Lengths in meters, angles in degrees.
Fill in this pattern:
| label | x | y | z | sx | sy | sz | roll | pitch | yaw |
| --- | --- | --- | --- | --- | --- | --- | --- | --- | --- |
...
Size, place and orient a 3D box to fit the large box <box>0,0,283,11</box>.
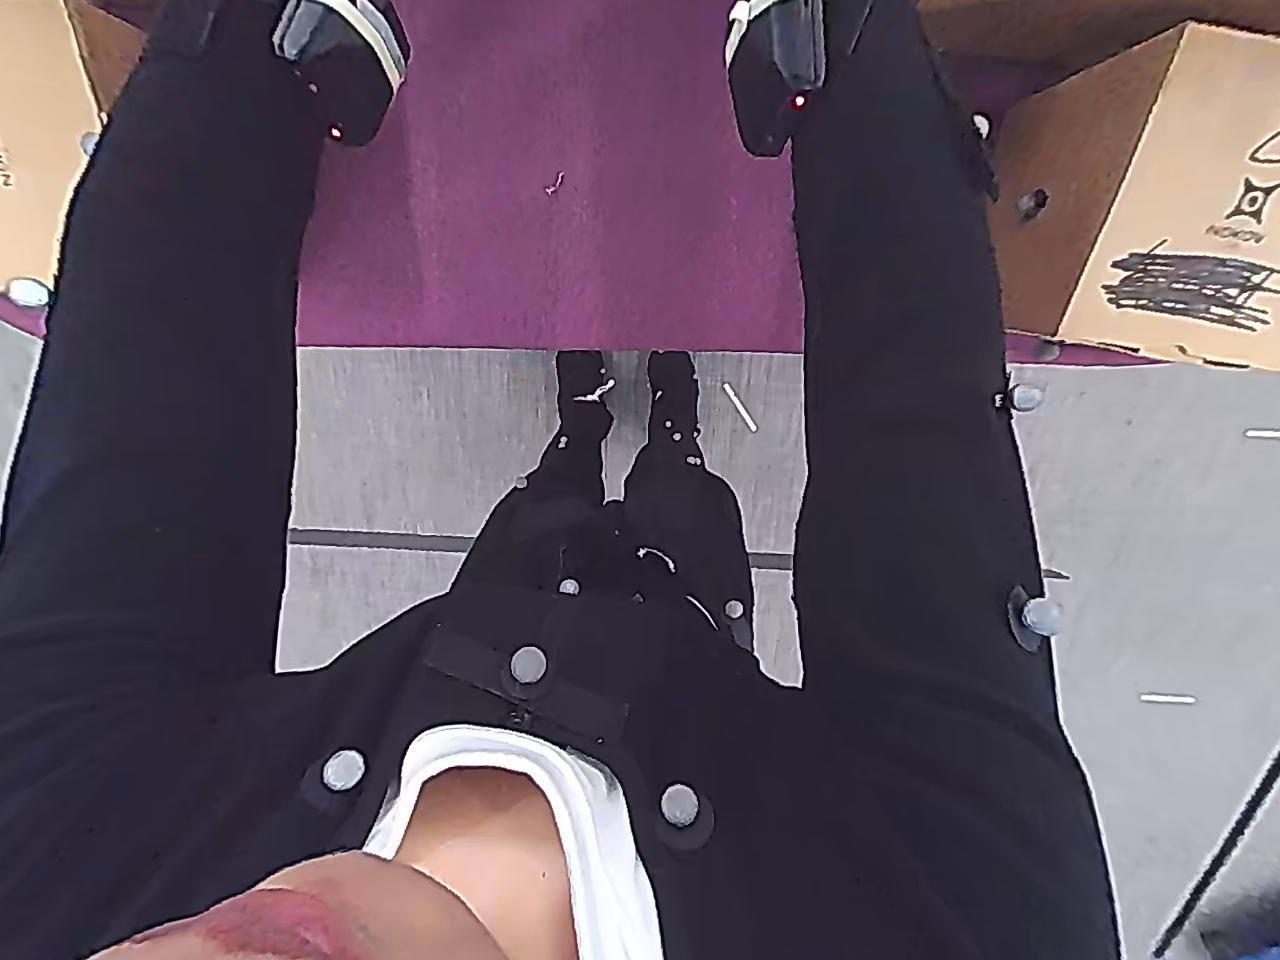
| label | x | y | z | sx | sy | sz | roll | pitch | yaw |
| --- | --- | --- | --- | --- | --- | --- | --- | --- | --- |
| large box | -0.442 | -0.520 | 0.239 | 0.320 | 0.320 | 0.408 | 1 | 114 | 0 |
